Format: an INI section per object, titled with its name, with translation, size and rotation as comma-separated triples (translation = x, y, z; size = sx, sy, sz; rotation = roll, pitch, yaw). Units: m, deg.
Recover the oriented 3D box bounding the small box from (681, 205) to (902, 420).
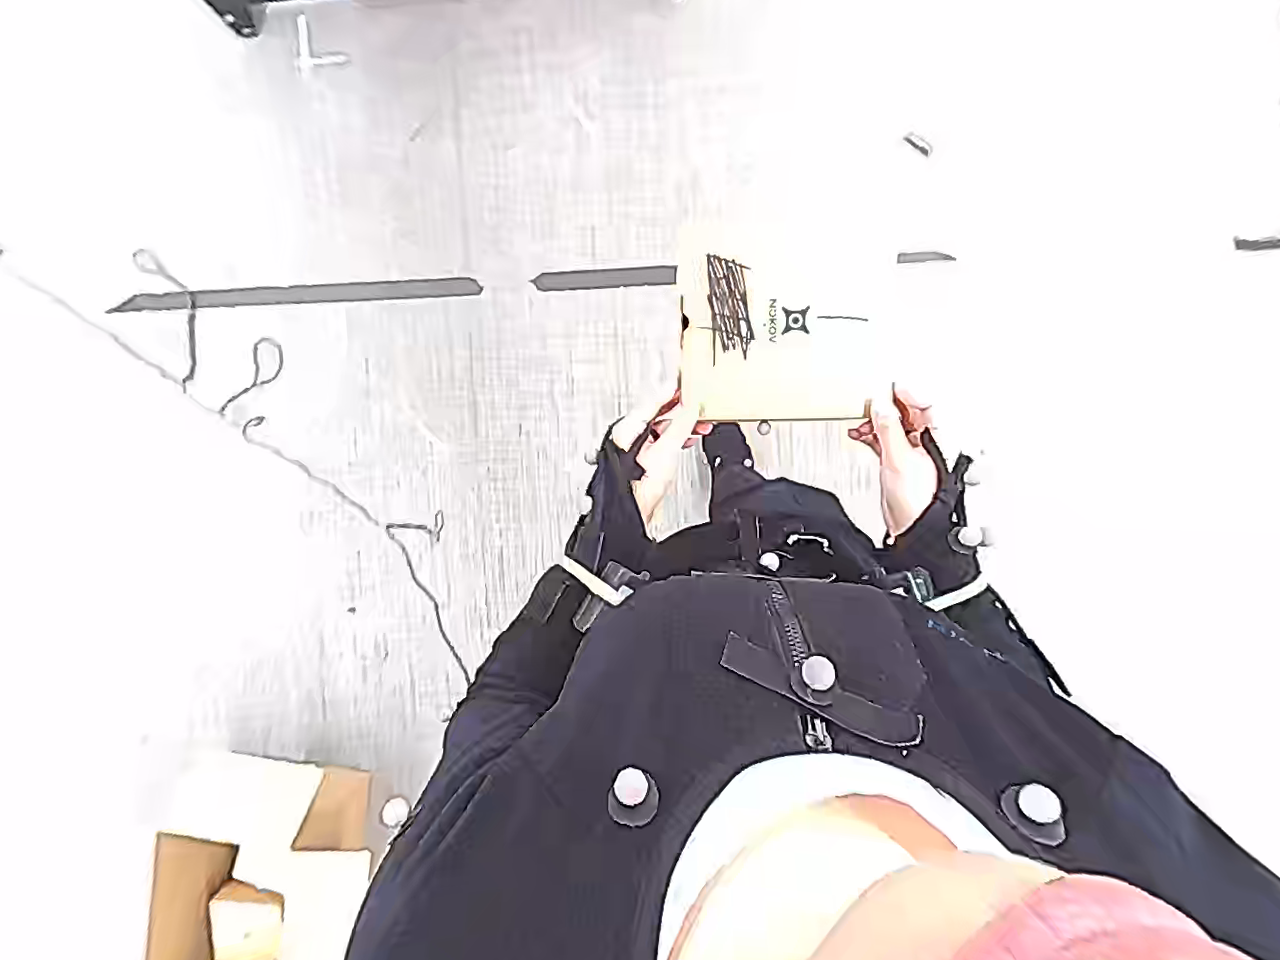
[small box]
translation = 0.133, -0.143, 0.524
size = 0.179, 0.176, 0.168
rotation = 0, 95, 7
